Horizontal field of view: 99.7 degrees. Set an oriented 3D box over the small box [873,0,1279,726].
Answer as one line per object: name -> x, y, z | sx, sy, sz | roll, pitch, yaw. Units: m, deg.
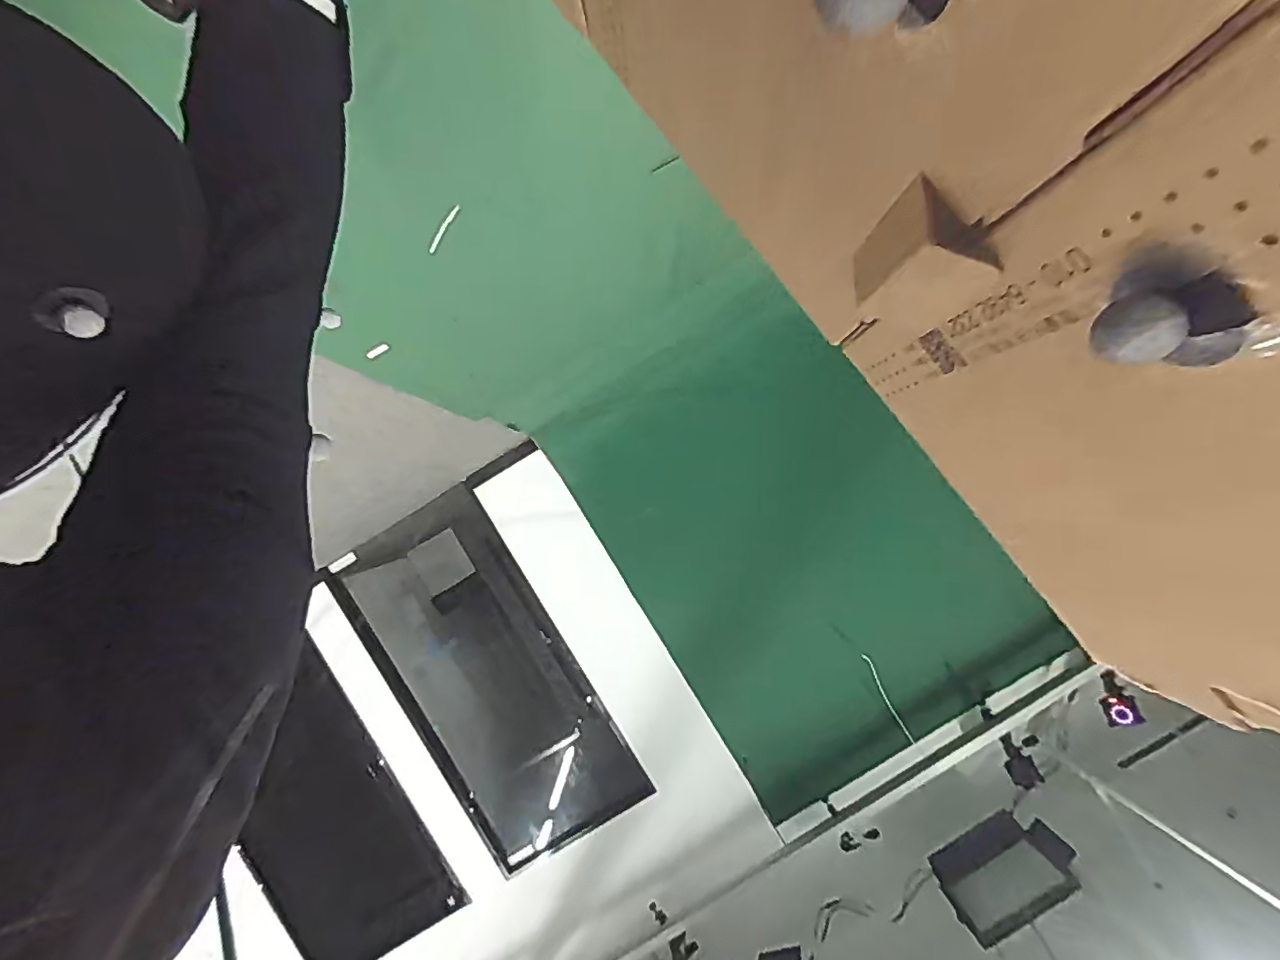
small box -> 0.199, -0.047, 0.142 | 0.179, 0.176, 0.168 | -37, 178, 7
